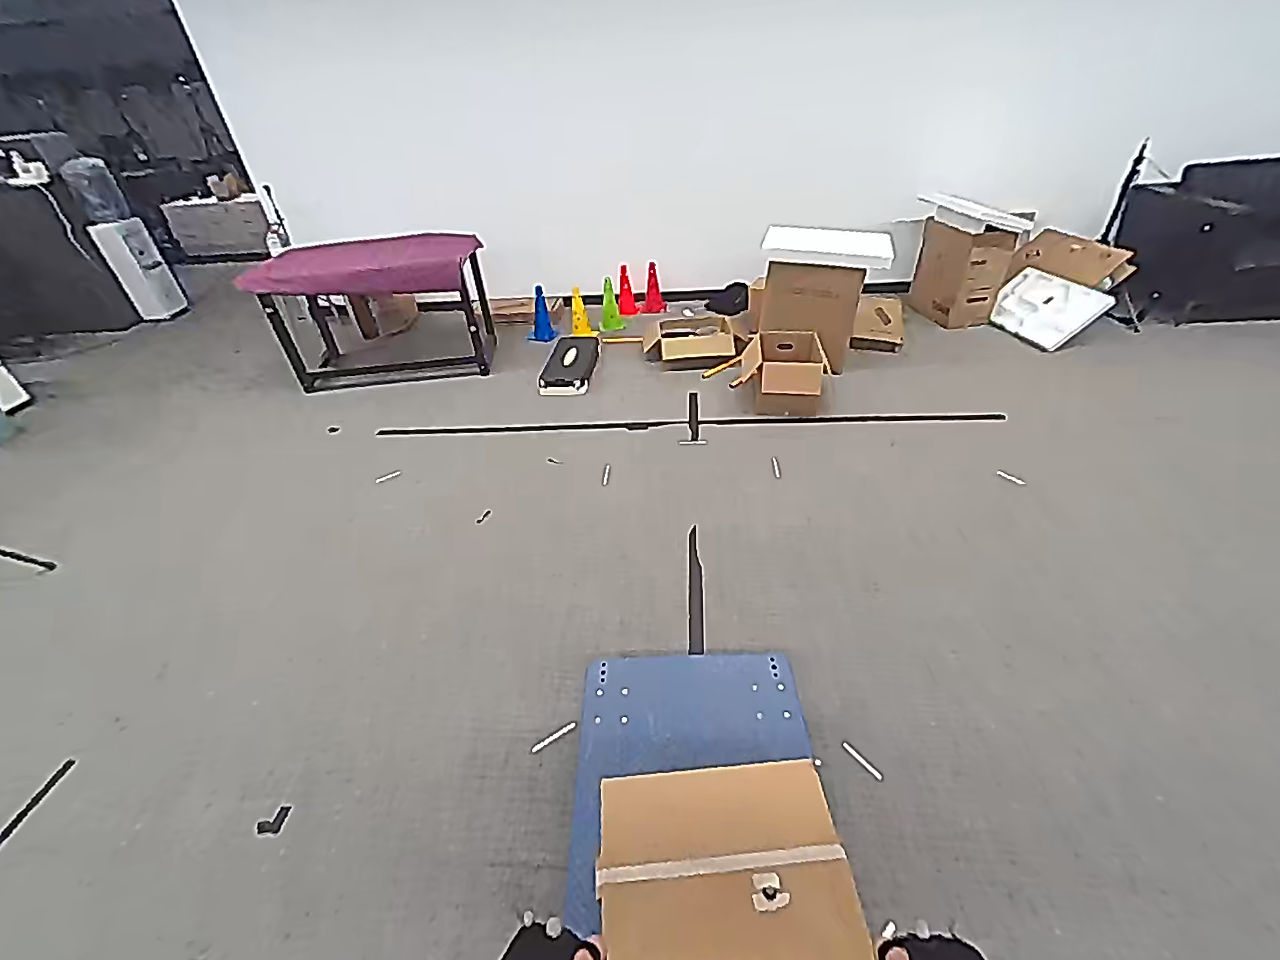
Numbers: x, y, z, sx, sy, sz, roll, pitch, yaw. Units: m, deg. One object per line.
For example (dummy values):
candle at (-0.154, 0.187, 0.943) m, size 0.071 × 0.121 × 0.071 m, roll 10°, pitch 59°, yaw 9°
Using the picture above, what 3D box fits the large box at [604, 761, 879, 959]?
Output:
large box at (0.149, 0.763, 0.986) m, size 0.408 × 0.320 × 0.320 m, roll -5°, pitch 37°, yaw -2°
